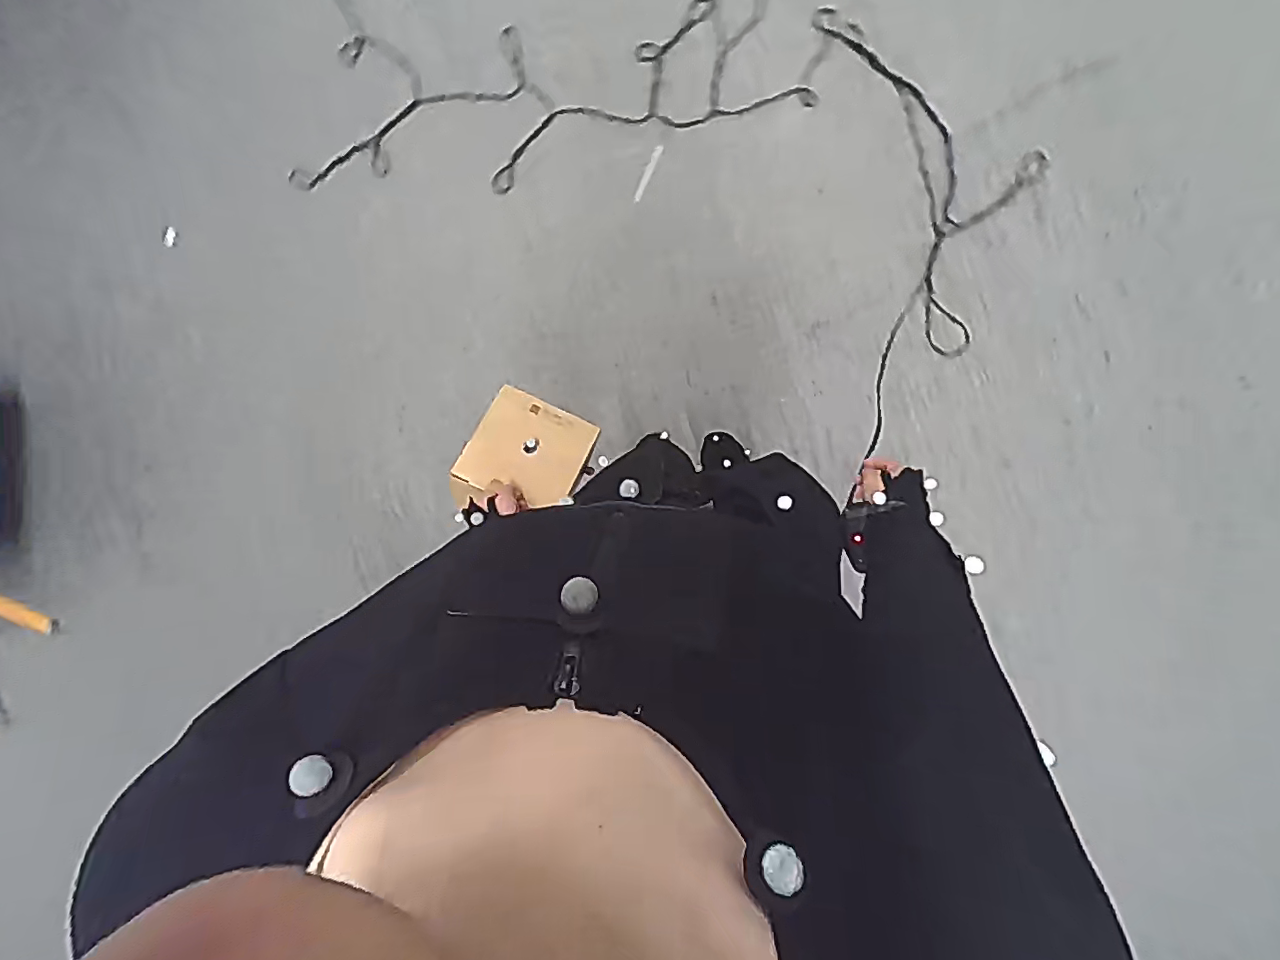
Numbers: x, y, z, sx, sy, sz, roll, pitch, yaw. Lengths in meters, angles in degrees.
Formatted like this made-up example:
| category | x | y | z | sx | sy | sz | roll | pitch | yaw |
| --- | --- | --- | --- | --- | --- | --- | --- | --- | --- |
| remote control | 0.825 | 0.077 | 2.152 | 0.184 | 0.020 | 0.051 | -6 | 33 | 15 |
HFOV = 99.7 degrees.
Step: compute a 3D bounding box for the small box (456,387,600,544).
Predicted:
| category | x | y | z | sx | sy | sz | roll | pitch | yaw |
| --- | --- | --- | --- | --- | --- | --- | --- | --- | --- |
| small box | -0.177 | -0.021 | 0.878 | 0.168 | 0.179 | 0.176 | 26 | 67 | -4 |
